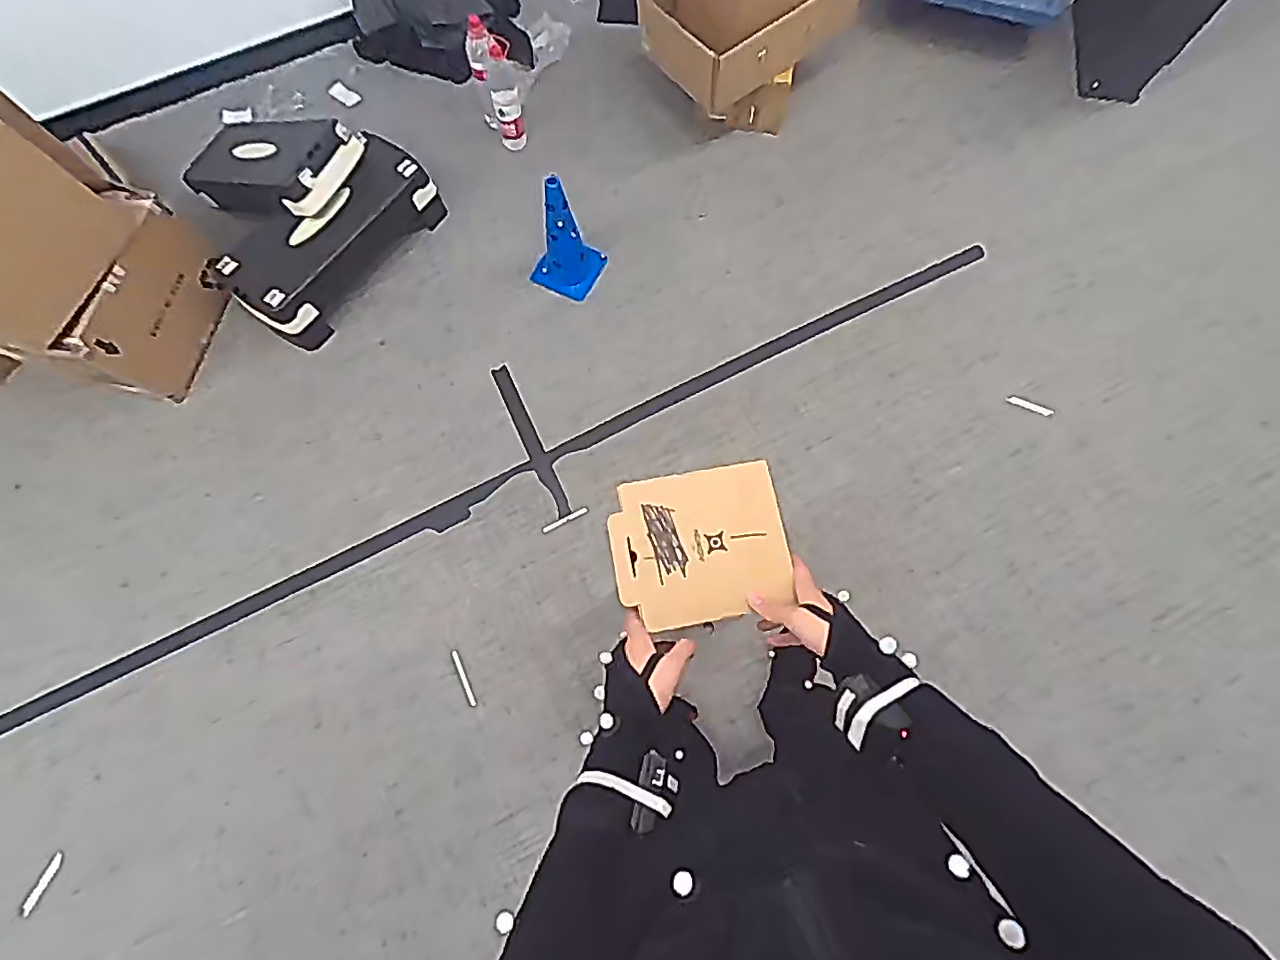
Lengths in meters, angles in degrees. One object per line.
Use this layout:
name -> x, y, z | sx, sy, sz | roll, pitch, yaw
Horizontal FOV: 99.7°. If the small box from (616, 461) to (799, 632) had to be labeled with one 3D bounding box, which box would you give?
small box -> 0.069, 0.089, 0.667 | 0.179, 0.176, 0.168 | -10, 77, -6
